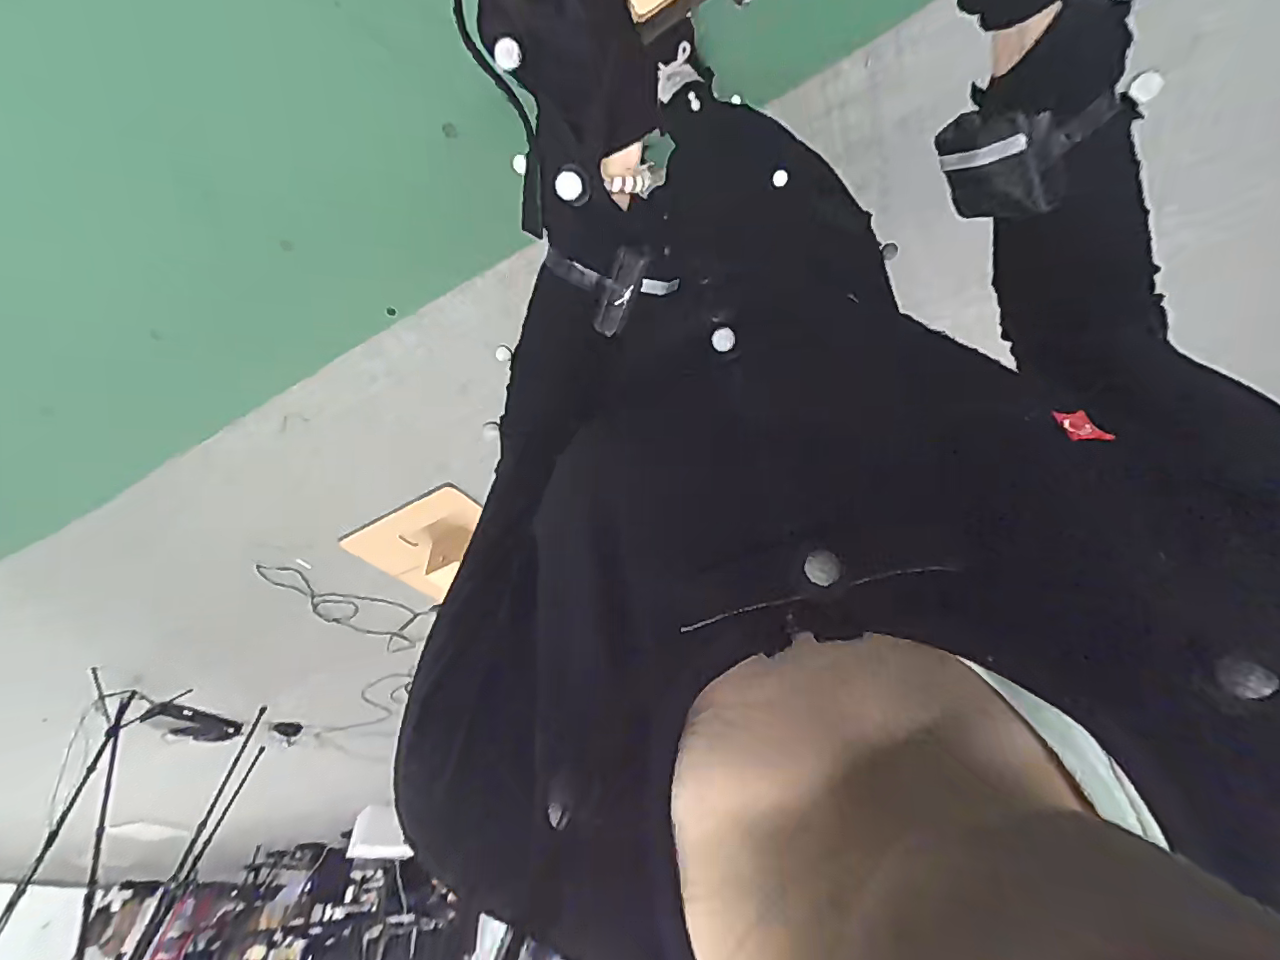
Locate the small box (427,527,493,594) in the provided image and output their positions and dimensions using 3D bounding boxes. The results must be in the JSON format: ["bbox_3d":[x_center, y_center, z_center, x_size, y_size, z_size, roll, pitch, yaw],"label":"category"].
[{"bbox_3d":[-0.696,0.313,2.117,0.179,0.176,0.168,-26,133,20],"label":"small box"}]
